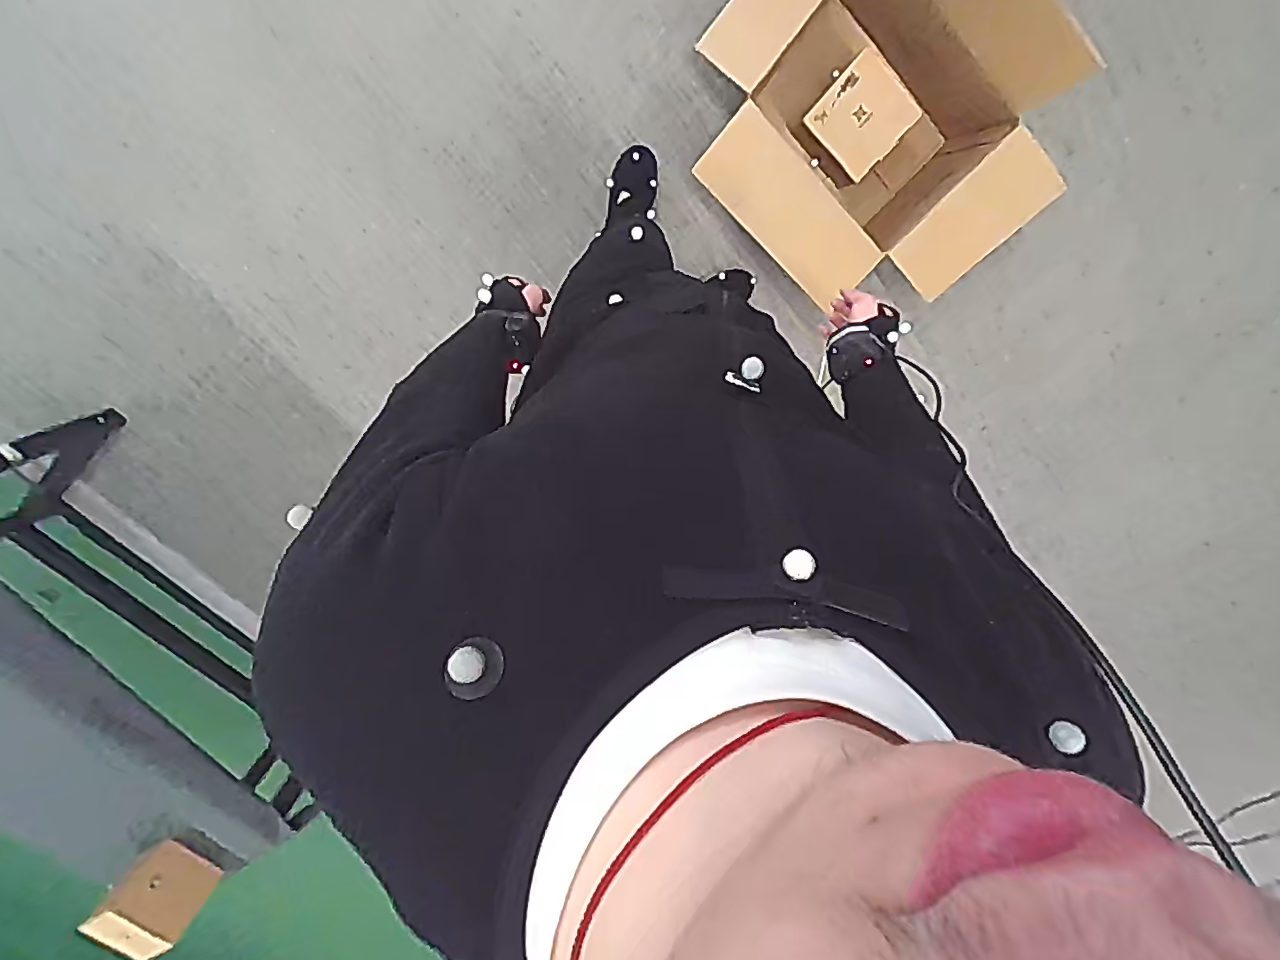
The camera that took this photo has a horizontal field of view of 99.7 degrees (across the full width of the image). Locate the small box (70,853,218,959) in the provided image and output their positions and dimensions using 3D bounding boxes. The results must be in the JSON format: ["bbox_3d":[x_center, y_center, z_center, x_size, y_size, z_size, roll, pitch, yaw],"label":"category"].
[{"bbox_3d":[-1.221,1.065,1.345,0.168,0.176,0.179,-32,109,19],"label":"small box"}]
